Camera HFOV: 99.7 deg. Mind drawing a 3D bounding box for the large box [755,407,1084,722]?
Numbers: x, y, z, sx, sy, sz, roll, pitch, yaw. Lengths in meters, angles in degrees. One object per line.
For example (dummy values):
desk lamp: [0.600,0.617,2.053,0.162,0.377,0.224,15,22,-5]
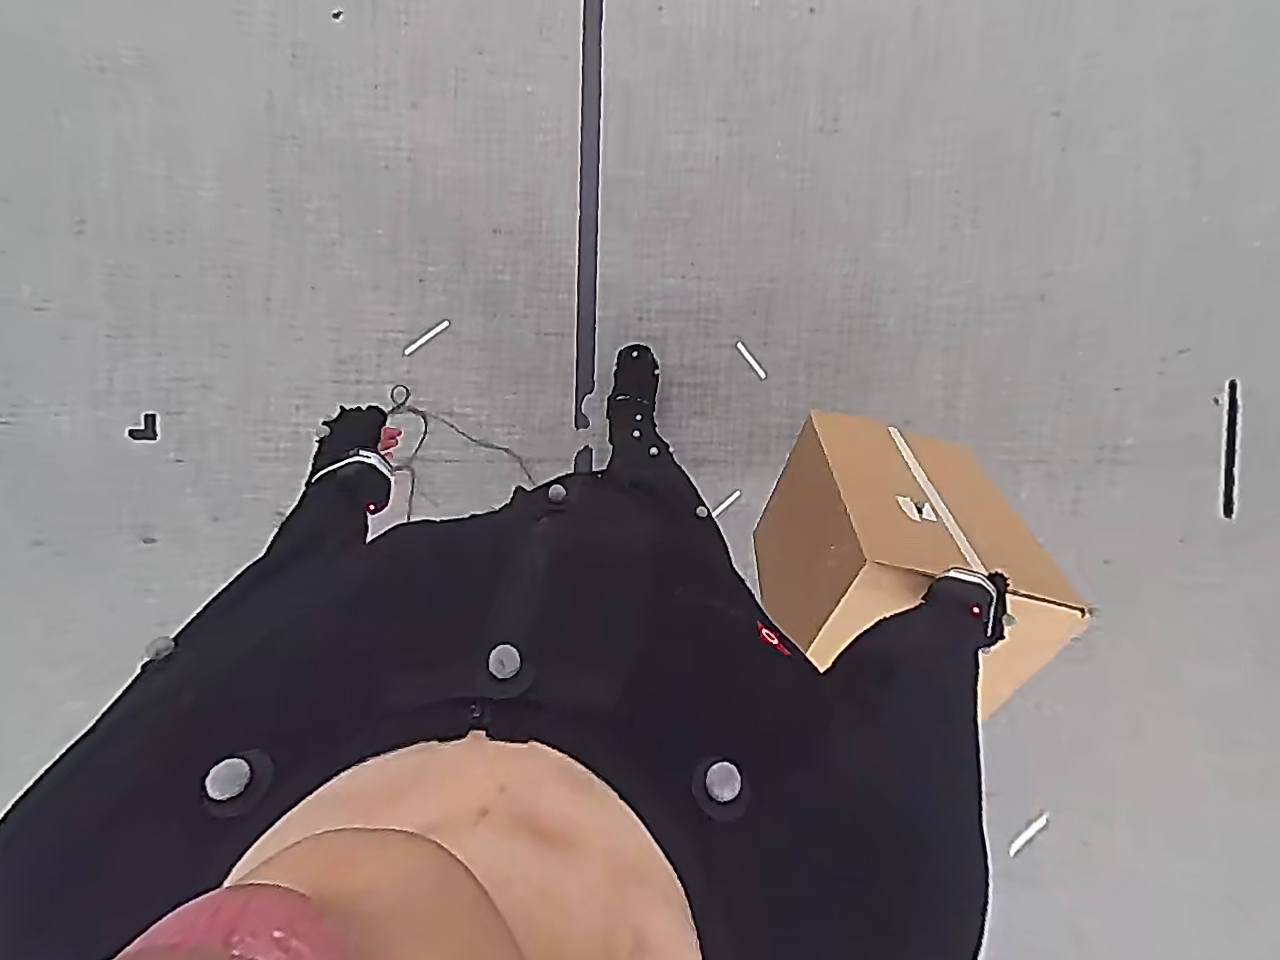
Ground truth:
large box: [0.416,0.132,0.943,0.320,0.408,0.320,13,126,-4]
